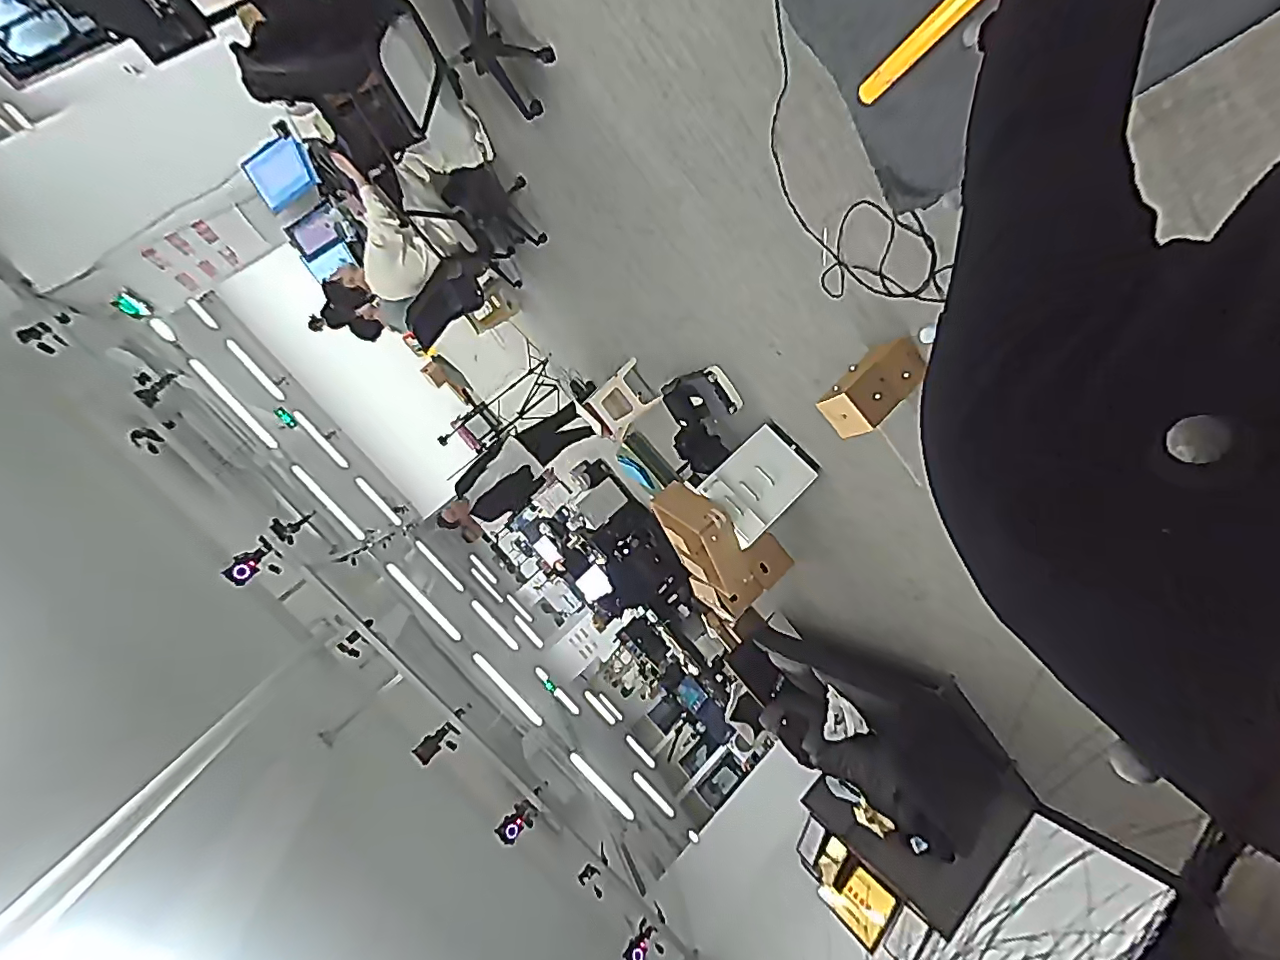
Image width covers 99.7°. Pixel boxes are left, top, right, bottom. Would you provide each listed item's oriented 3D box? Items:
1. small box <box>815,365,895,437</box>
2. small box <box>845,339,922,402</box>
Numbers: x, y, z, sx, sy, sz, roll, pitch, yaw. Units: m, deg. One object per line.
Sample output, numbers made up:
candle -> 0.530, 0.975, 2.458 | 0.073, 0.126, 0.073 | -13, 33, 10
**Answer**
small box -> 0.765, -0.279, 1.906 | 0.168, 0.176, 0.179 | 49, 166, -6
small box -> 0.883, -0.384, 1.956 | 0.168, 0.176, 0.179 | 49, 166, -8
